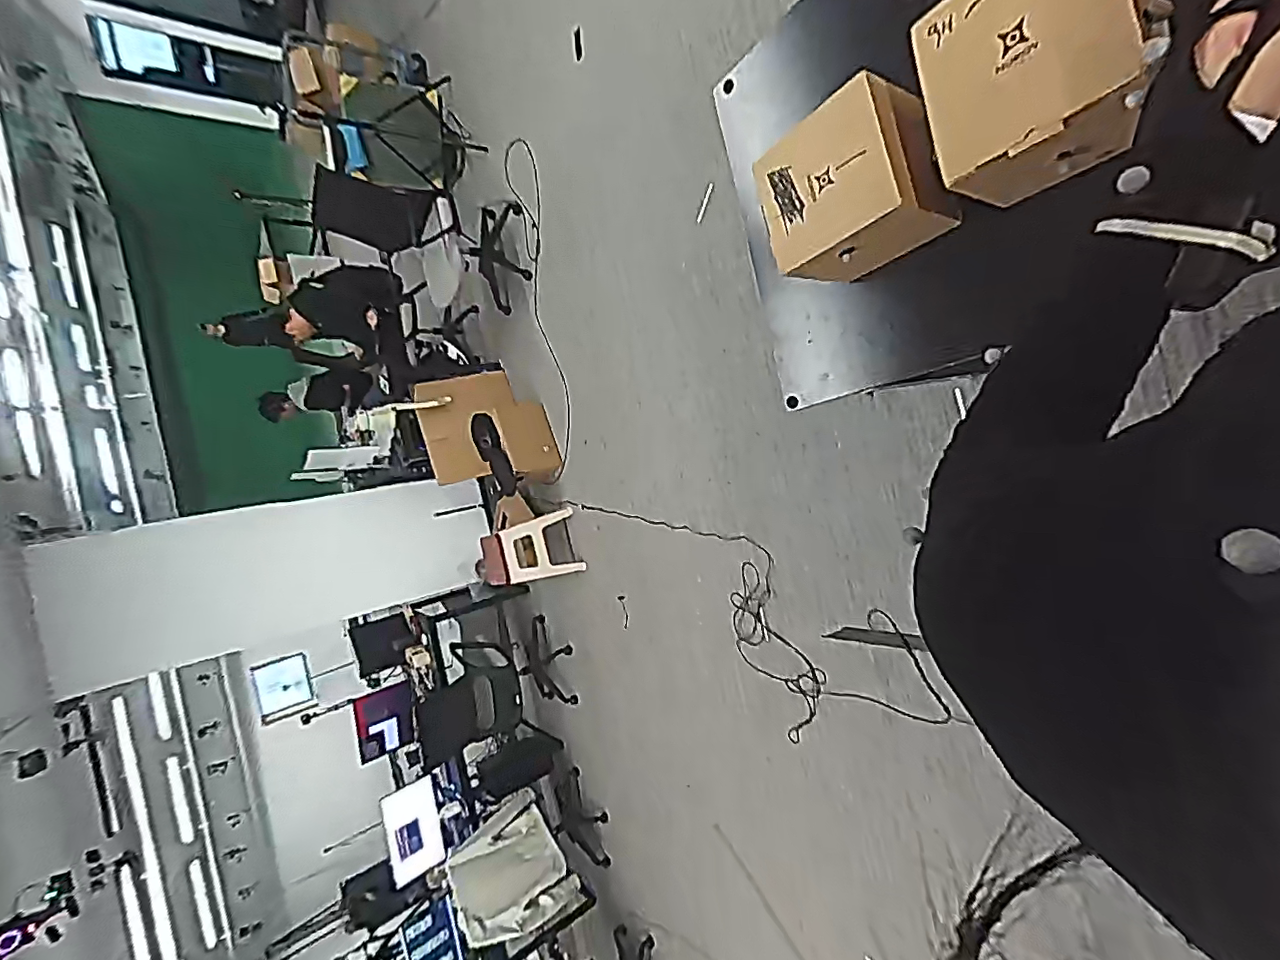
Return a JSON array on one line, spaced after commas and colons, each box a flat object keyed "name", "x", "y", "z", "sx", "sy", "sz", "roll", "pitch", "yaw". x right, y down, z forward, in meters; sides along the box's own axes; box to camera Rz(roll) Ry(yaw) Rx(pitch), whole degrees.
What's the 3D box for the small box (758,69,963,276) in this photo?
[{"name": "small box", "x": 0.294, "y": -0.392, "z": 0.730, "sx": 0.179, "sy": 0.176, "sz": 0.168, "roll": -17, "pitch": 86, "yaw": 53}]
